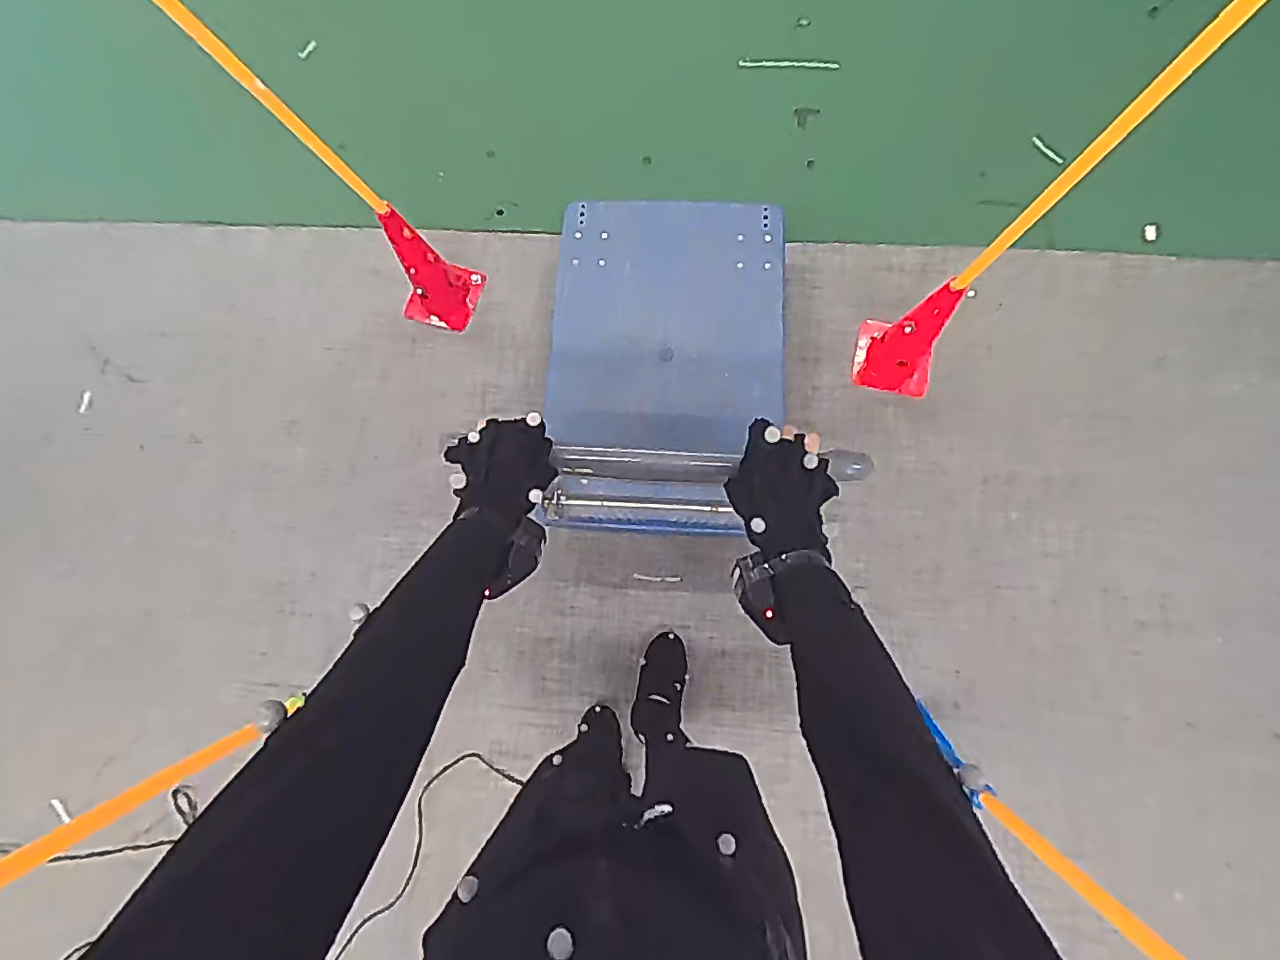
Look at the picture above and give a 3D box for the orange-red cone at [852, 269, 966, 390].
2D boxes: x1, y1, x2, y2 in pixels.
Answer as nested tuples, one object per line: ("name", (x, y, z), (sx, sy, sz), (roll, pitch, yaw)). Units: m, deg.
("orange-red cone", (0.683, -0.389, 1.311), (0.198, 0.360, 0.199), (14, 79, 7))
